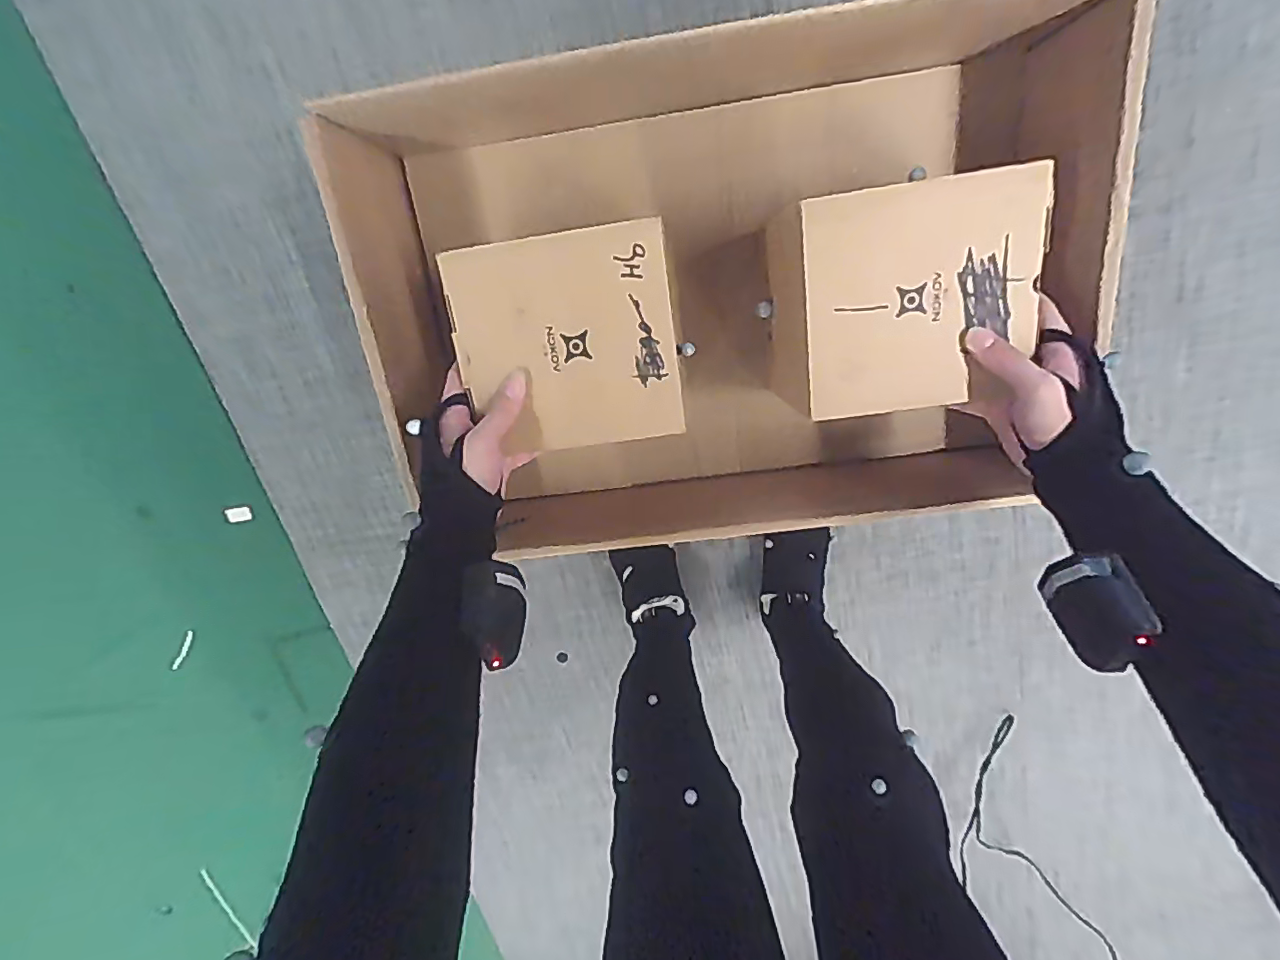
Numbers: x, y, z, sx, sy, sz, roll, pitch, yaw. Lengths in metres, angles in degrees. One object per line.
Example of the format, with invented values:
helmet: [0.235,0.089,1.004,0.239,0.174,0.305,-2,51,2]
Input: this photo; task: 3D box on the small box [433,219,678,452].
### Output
small box: [-0.060,-0.133,0.509,0.179,0.176,0.168,-6,108,6]
